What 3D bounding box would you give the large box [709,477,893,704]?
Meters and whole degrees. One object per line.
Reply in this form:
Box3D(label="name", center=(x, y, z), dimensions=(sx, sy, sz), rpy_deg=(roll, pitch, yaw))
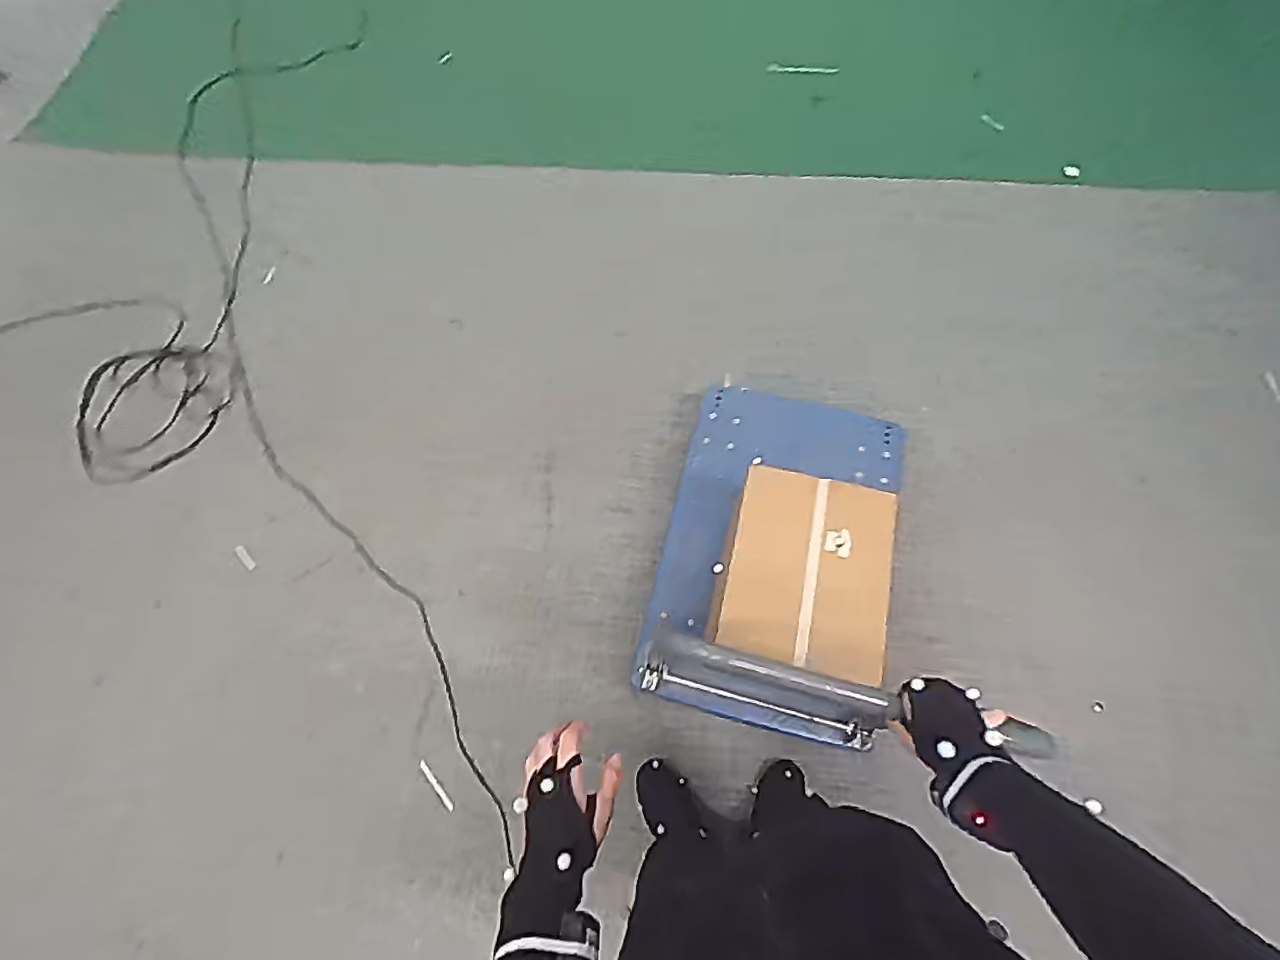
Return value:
Box3D(label="large box", center=(0.345, 0.259, 1.212), dimensions=(0.320, 0.320, 0.408), rpy_deg=(12, 67, 6))
